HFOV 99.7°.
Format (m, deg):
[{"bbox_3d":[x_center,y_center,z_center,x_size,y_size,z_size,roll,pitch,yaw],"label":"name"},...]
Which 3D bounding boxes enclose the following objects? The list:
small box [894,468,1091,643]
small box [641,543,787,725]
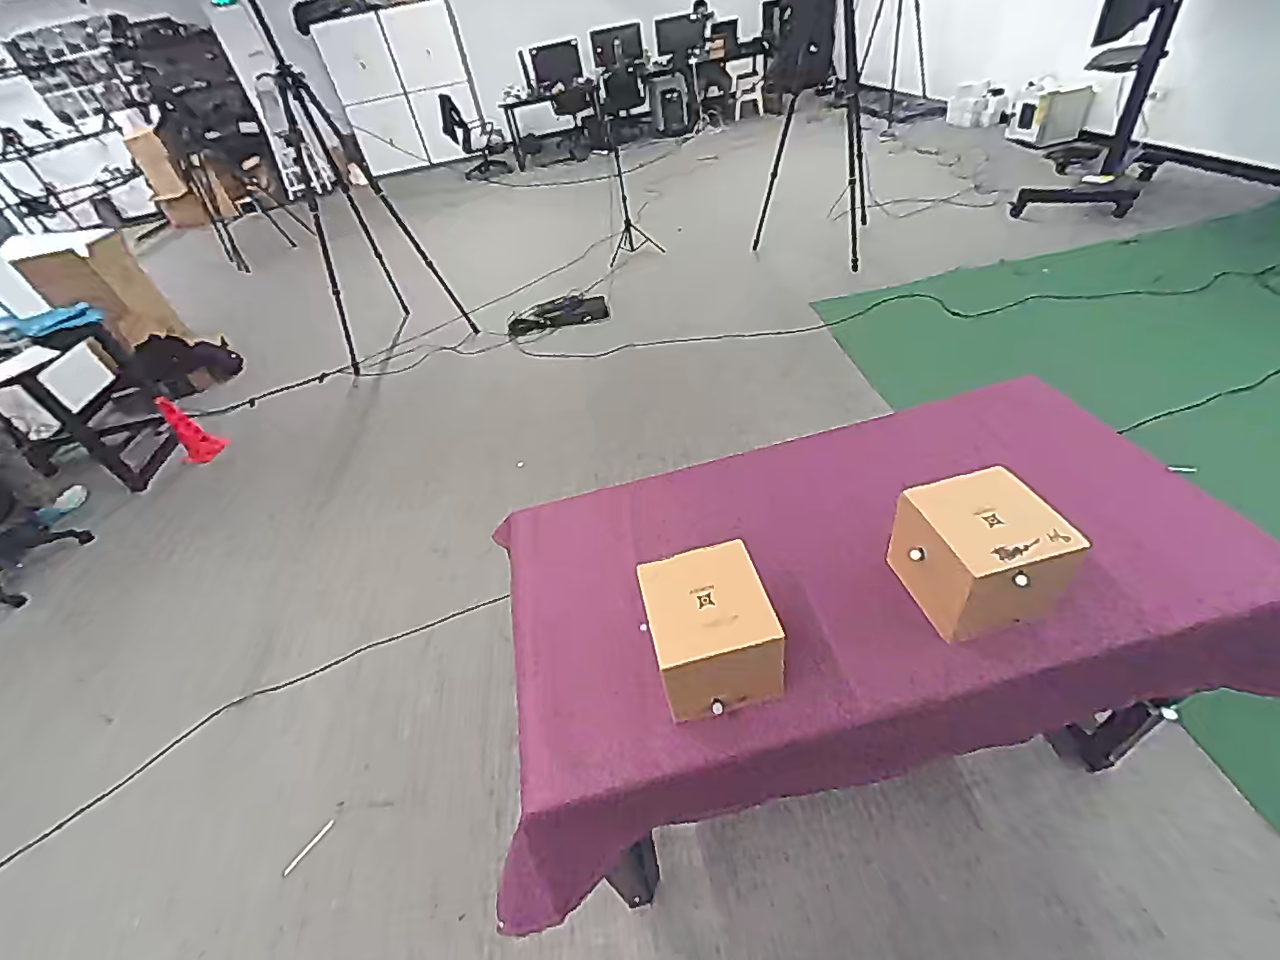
[{"bbox_3d":[0.509,0.113,0.817,0.168,0.176,0.179,-16,41,-1],"label":"small box"},{"bbox_3d":[0.105,0.227,0.798,0.168,0.176,0.179,-15,42,-1],"label":"small box"}]
